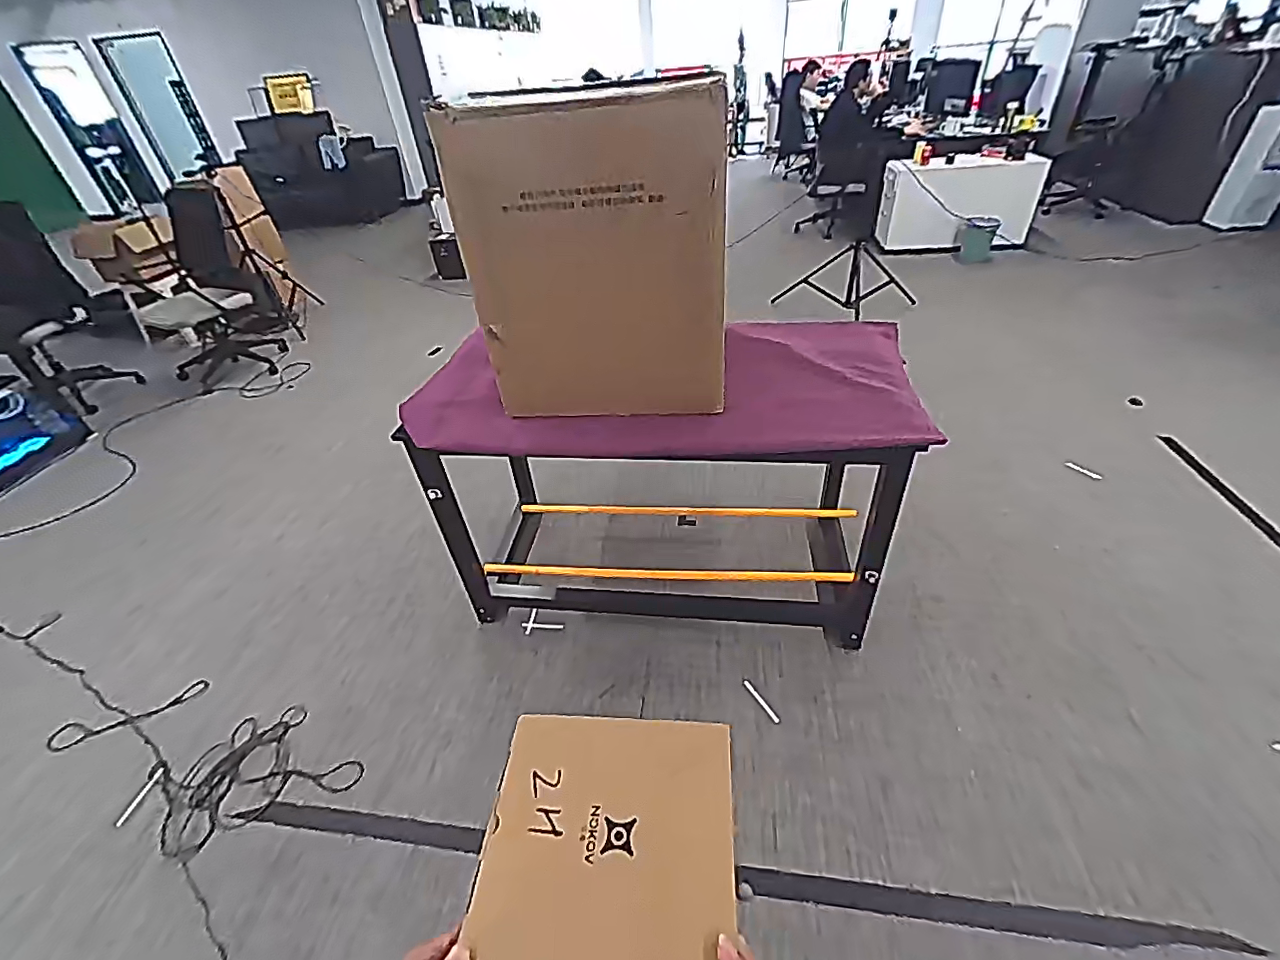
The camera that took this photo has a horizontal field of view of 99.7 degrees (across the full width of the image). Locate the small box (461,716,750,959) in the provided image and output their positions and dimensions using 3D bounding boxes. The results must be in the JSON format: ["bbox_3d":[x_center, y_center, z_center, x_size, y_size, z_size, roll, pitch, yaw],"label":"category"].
[{"bbox_3d":[-0.010,0.310,0.424,0.179,0.176,0.168,-1,38,8],"label":"small box"}]
